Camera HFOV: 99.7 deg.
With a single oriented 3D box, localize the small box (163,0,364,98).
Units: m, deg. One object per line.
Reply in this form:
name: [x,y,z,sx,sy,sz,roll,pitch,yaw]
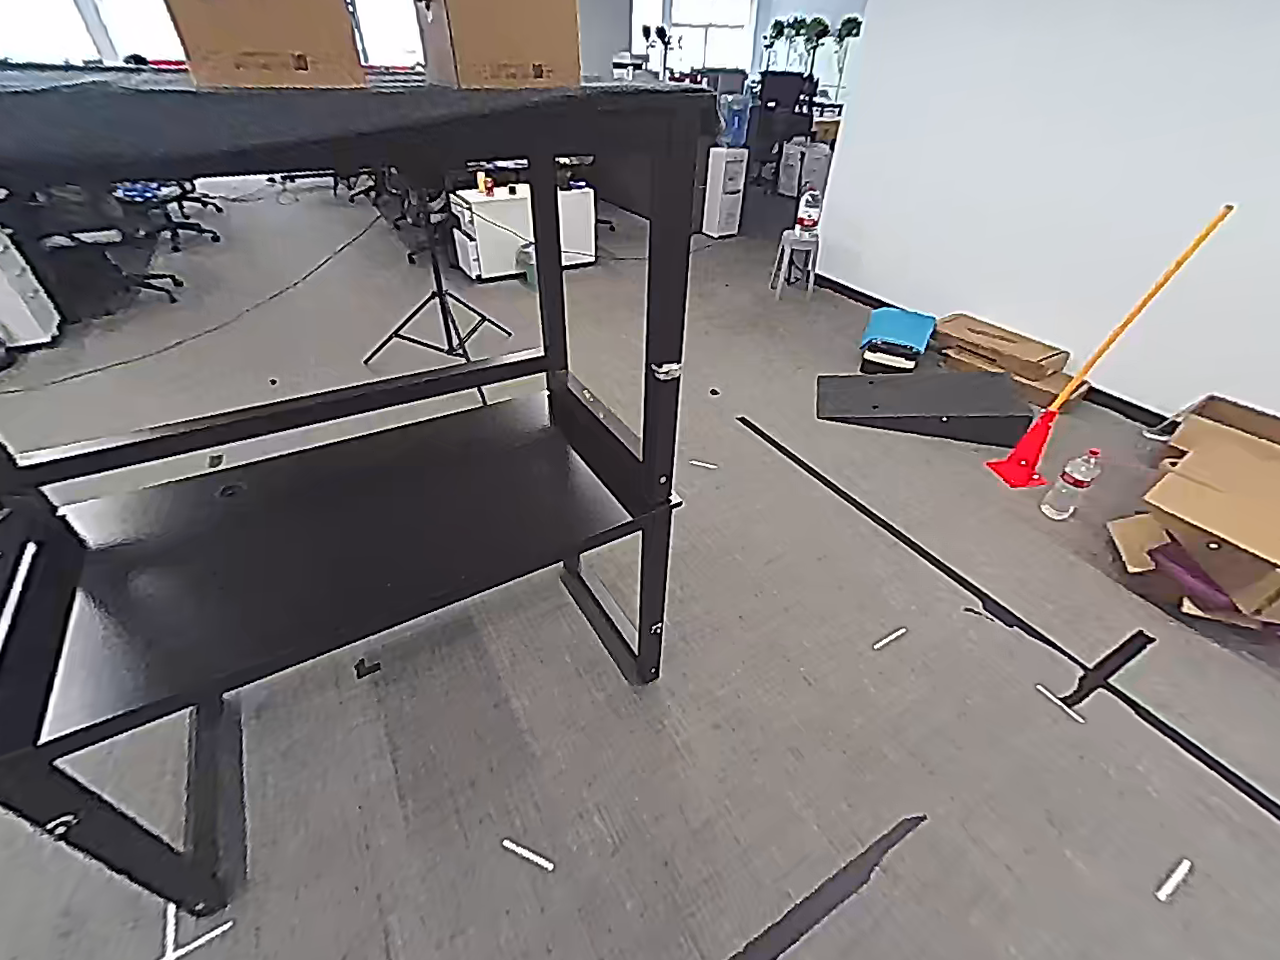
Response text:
small box: [-0.423,-0.532,0.602,0.168,0.176,0.179,-17,41,-22]
